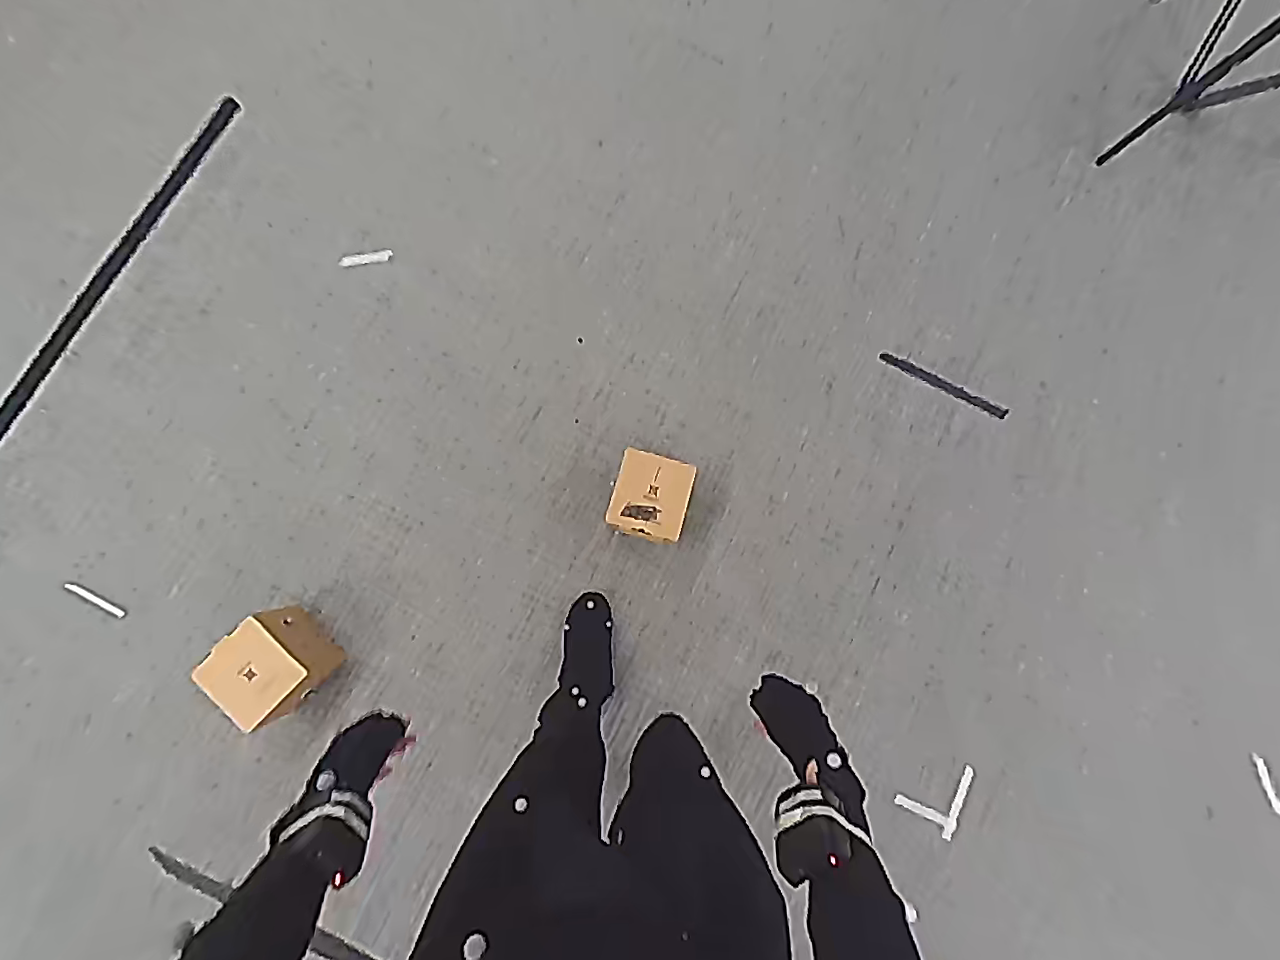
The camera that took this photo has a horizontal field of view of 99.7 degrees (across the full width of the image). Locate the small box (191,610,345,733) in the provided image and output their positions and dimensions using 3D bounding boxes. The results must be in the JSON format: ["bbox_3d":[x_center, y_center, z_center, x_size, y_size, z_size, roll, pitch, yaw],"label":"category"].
[{"bbox_3d":[-0.791,0.400,1.169,0.179,0.176,0.168,43,83,2],"label":"small box"}]

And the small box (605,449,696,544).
[{"bbox_3d":[0.021,0.047,1.264,0.168,0.176,0.179,16,81,-1],"label":"small box"}]
